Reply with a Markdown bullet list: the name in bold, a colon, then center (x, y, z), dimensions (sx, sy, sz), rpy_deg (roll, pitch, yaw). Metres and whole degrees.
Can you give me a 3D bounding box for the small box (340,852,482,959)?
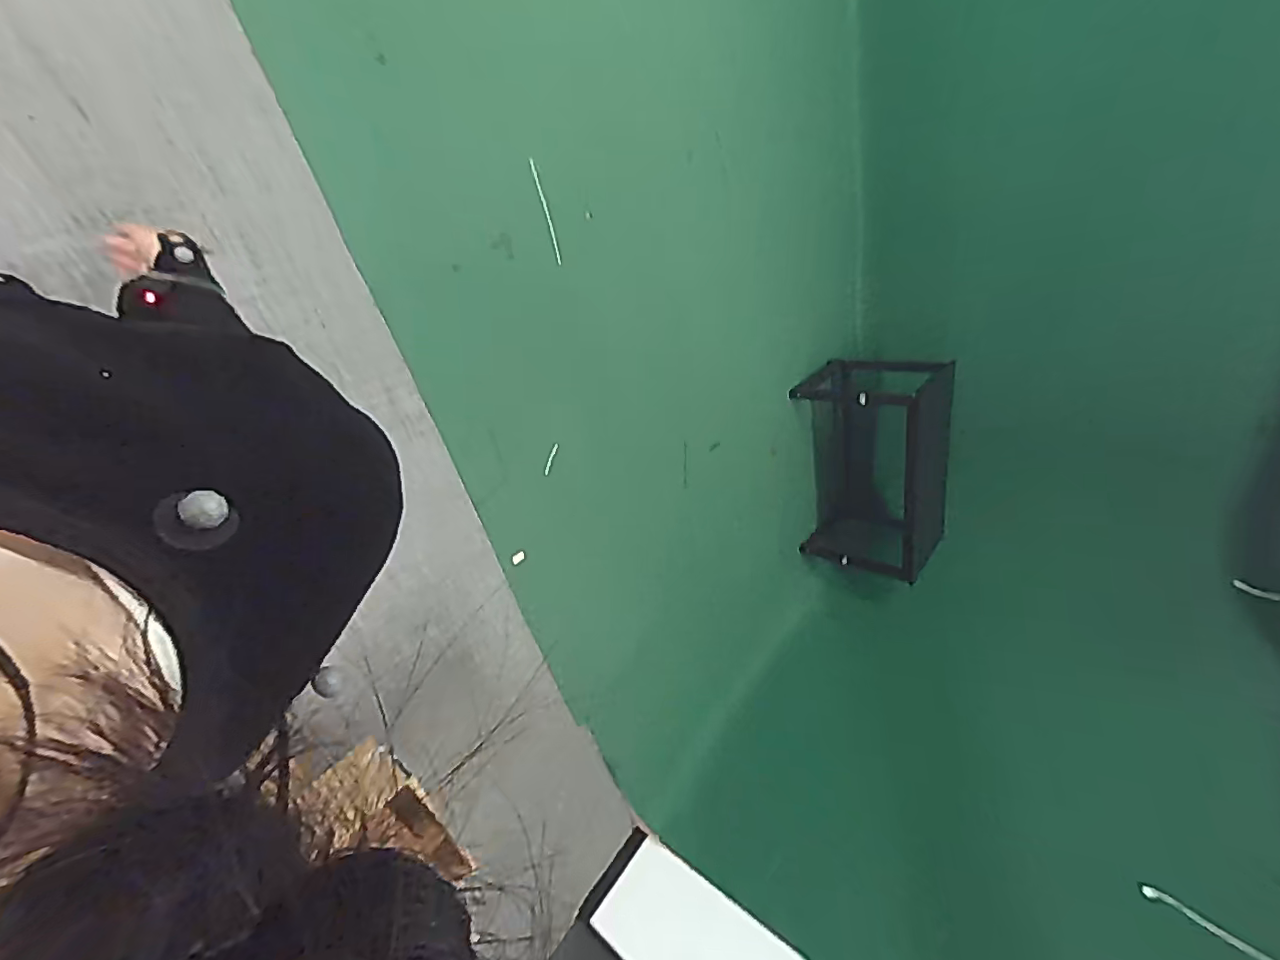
- **small box**: center (-0.449, 0.881, 1.059), dimensions (0.168, 0.176, 0.179), rpy_deg (-38, 126, -35)
